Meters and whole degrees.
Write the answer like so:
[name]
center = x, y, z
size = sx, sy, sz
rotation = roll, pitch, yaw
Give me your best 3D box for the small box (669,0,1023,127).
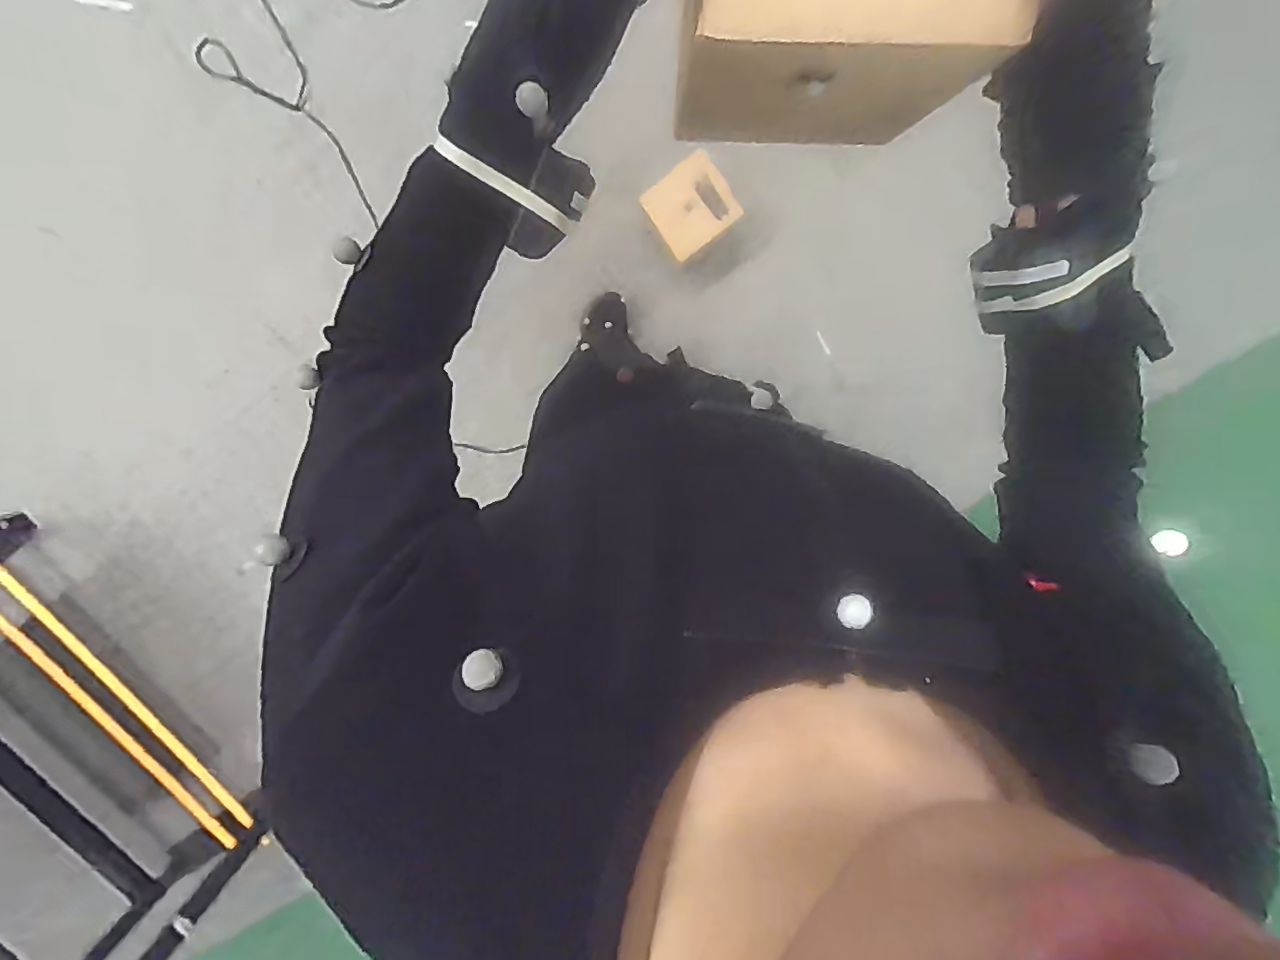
[small box]
center = 0.108, -0.336, 0.332
size = 0.179, 0.176, 0.168
rotation = -1, 107, -1
